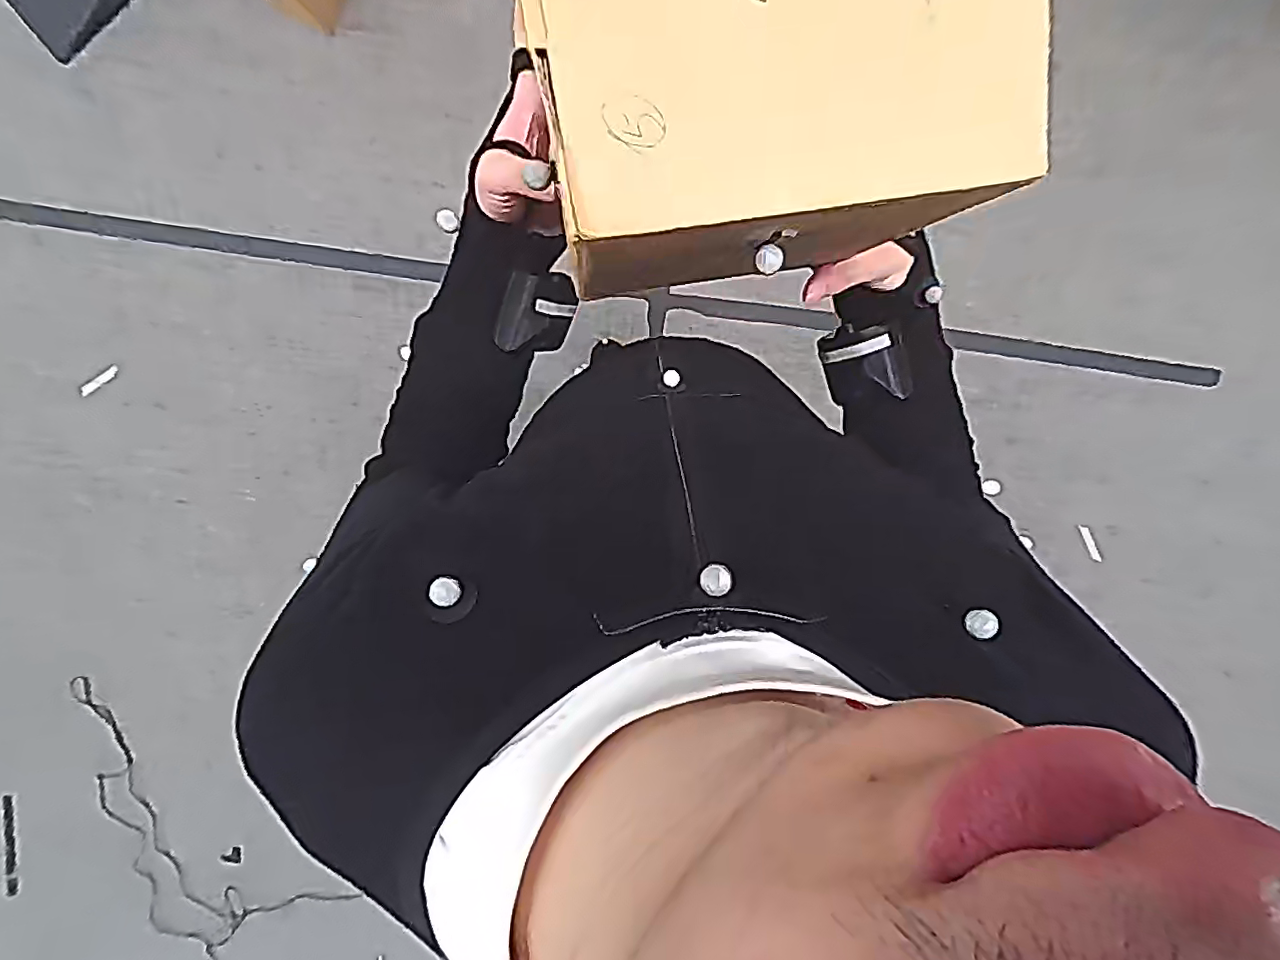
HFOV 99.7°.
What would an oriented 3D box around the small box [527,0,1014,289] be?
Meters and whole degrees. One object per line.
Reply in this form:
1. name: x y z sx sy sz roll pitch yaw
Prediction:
1. small box: 0.039 -0.197 0.264 0.179 0.176 0.168 -10 104 -5
